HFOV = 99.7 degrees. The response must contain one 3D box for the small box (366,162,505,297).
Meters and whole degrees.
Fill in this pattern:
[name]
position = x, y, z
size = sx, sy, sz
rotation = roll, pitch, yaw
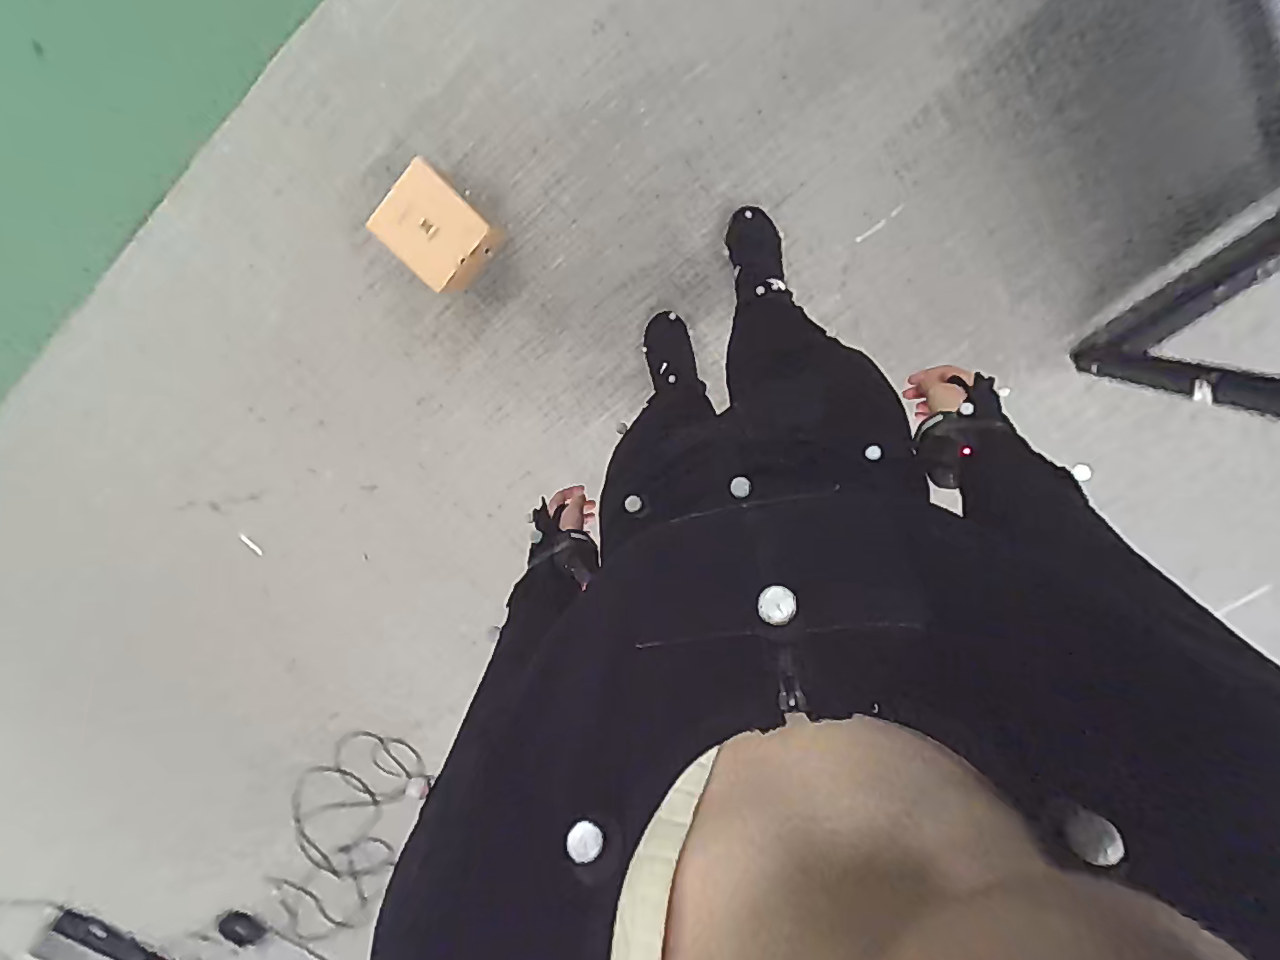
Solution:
[small box]
position = -0.400, -0.497, 1.092
size = 0.179, 0.176, 0.168
rotation = 43, 104, -14
